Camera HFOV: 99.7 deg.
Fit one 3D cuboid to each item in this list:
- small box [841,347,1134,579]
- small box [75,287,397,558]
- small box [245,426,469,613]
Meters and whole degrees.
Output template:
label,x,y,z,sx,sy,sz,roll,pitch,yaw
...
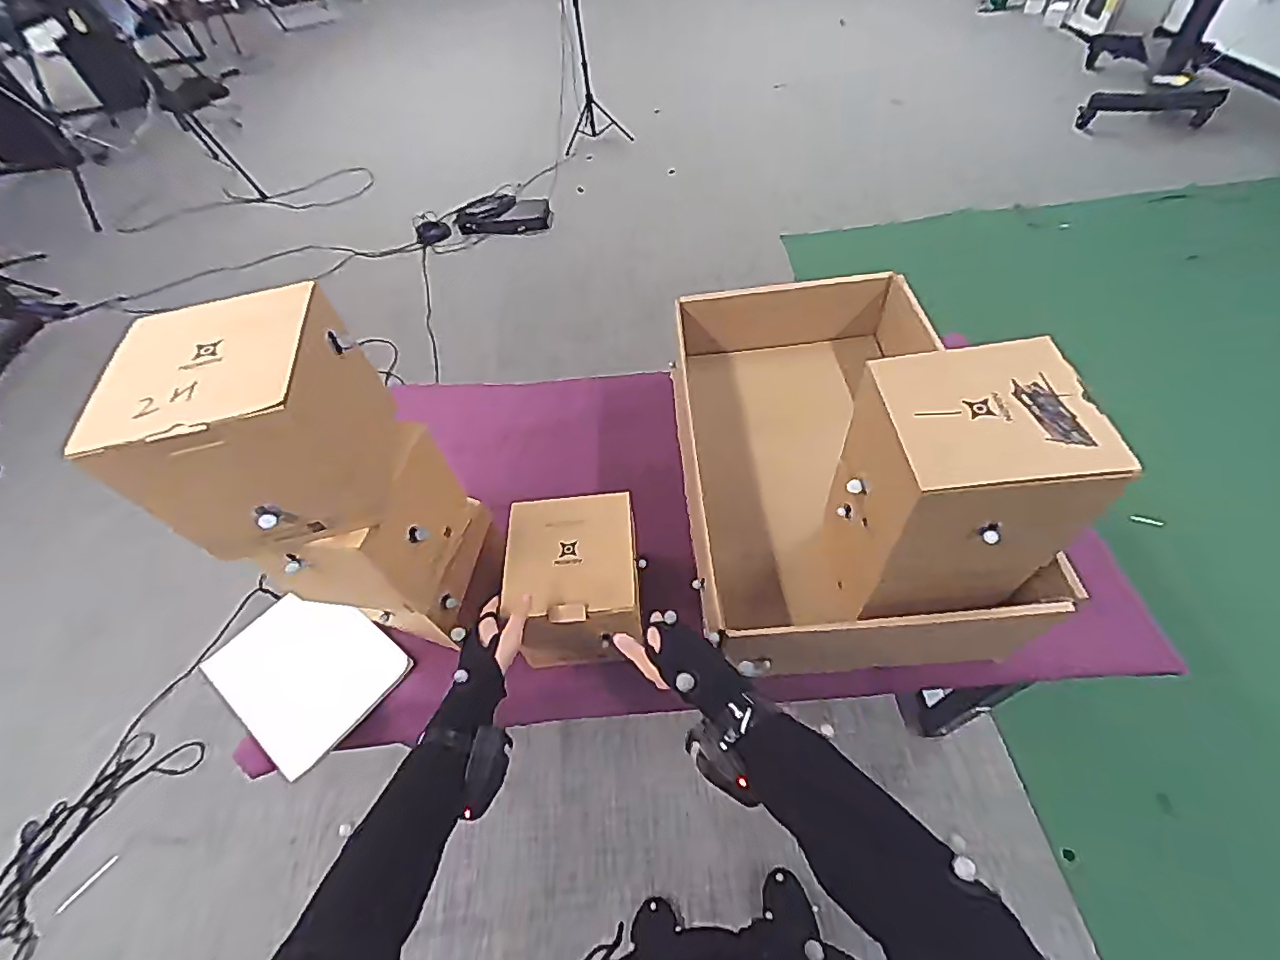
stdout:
label,x,y,z,sx,sy,sz,roll,pitch,yaw
small box,0.326,-0.011,0.555,0.179,0.176,0.168,-6,53,5
small box,-0.353,-0.052,0.521,0.168,0.176,0.179,-14,53,-3
small box,-0.332,0.047,0.651,0.179,0.176,0.168,4,54,10
